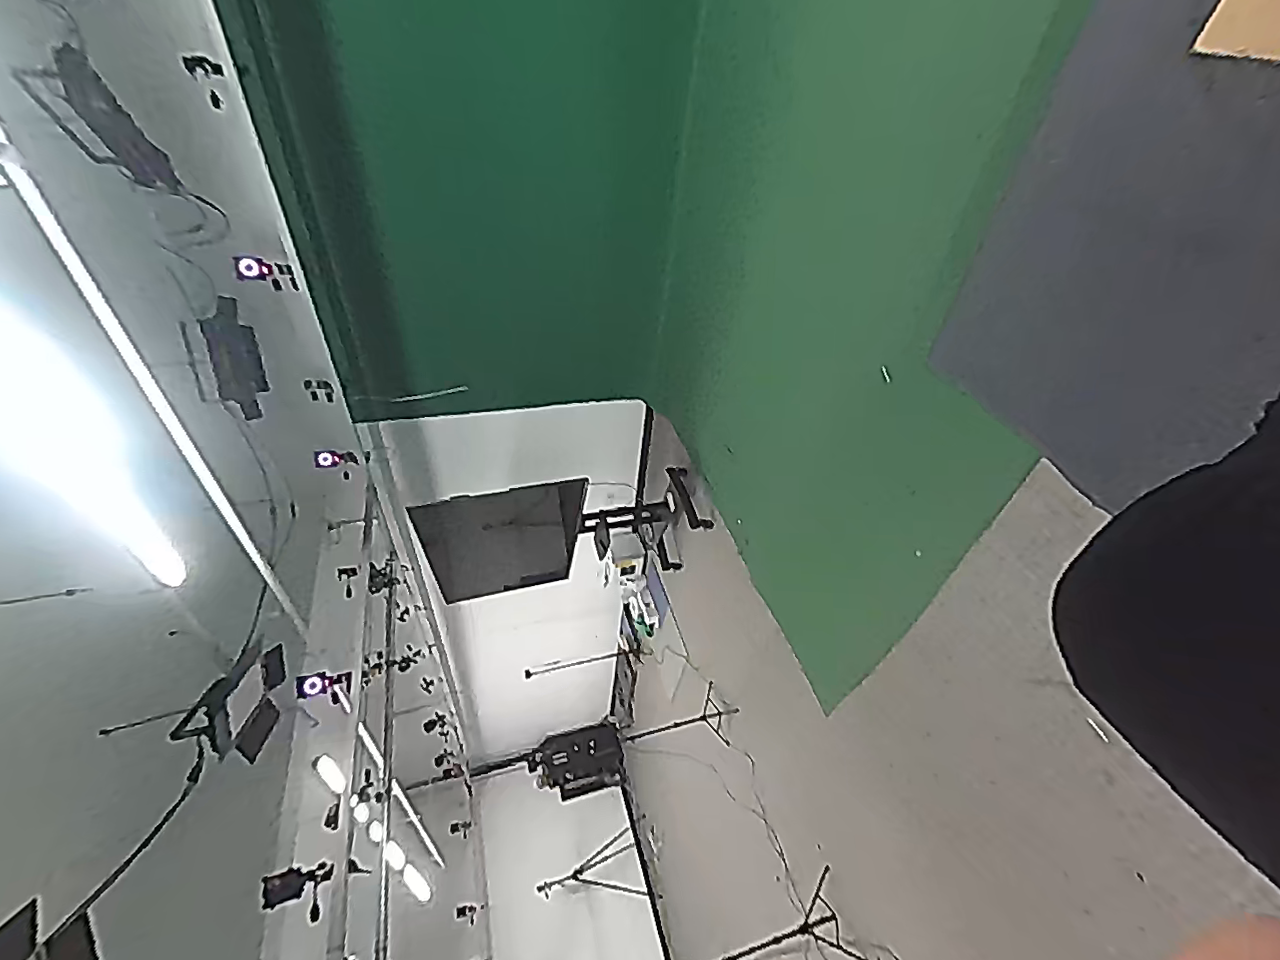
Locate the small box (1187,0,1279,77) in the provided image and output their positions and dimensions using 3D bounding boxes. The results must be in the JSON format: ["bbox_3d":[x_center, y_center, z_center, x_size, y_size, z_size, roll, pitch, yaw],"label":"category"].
[{"bbox_3d":[0.659,-0.436,0.455,0.179,0.176,0.168,-113,24,-45],"label":"small box"}]
